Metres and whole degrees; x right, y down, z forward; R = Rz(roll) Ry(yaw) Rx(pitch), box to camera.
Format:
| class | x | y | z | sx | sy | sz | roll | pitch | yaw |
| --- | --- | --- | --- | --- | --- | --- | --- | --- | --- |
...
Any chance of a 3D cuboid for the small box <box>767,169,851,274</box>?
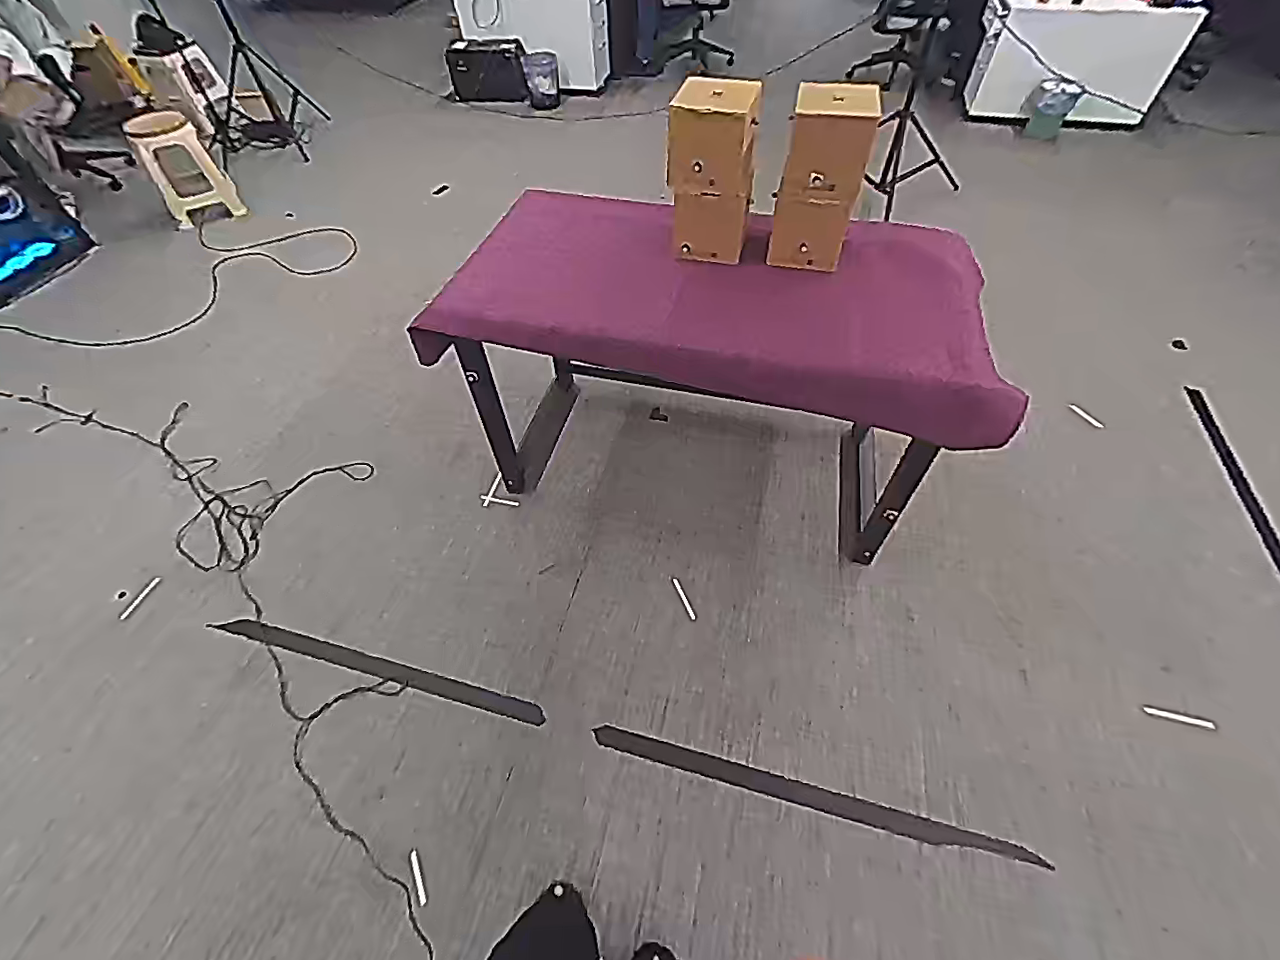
| class | x | y | z | sx | sy | sz | roll | pitch | yaw |
| --- | --- | --- | --- | --- | --- | --- | --- | --- | --- |
| small box | 0.408 | -0.628 | 1.309 | 0.168 | 0.176 | 0.179 | 10 | 54 | 11 |

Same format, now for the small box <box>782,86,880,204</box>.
| class | x | y | z | sx | sy | sz | roll | pitch | yaw |
| --- | --- | --- | --- | --- | --- | --- | --- | --- | --- |
| small box | 0.411 | -0.730 | 1.181 | 0.168 | 0.176 | 0.179 | 9 | 54 | 9 |

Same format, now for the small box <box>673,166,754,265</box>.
| class | x | y | z | sx | sy | sz | roll | pitch | yaw |
| --- | --- | --- | --- | --- | --- | --- | --- | --- | --- |
| small box | 0.180 | -0.657 | 1.337 | 0.168 | 0.176 | 0.179 | 11 | 53 | 10 |

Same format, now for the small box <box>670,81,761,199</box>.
| class | x | y | z | sx | sy | sz | roll | pitch | yaw |
| --- | --- | --- | --- | --- | --- | --- | --- | --- | --- |
| small box | 0.164 | -0.762 | 1.214 | 0.168 | 0.176 | 0.179 | 13 | 55 | 11 |
